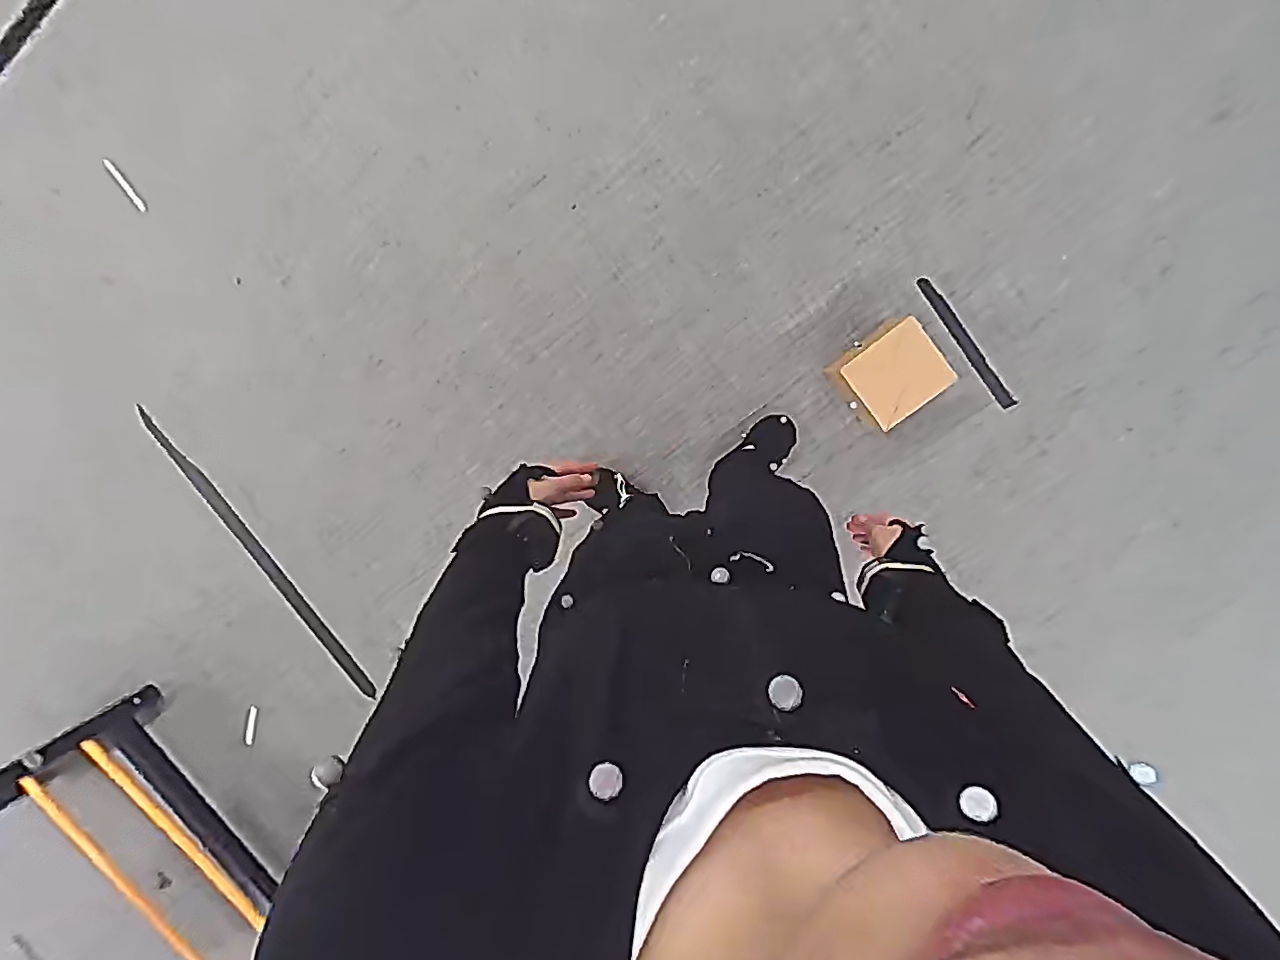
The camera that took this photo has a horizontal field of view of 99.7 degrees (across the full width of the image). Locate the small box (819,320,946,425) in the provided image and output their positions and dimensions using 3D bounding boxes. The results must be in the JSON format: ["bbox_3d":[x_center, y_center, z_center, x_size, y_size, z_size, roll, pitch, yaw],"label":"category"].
[{"bbox_3d":[0.532,-0.236,1.196,0.179,0.176,0.168,-38,95,11],"label":"small box"}]
